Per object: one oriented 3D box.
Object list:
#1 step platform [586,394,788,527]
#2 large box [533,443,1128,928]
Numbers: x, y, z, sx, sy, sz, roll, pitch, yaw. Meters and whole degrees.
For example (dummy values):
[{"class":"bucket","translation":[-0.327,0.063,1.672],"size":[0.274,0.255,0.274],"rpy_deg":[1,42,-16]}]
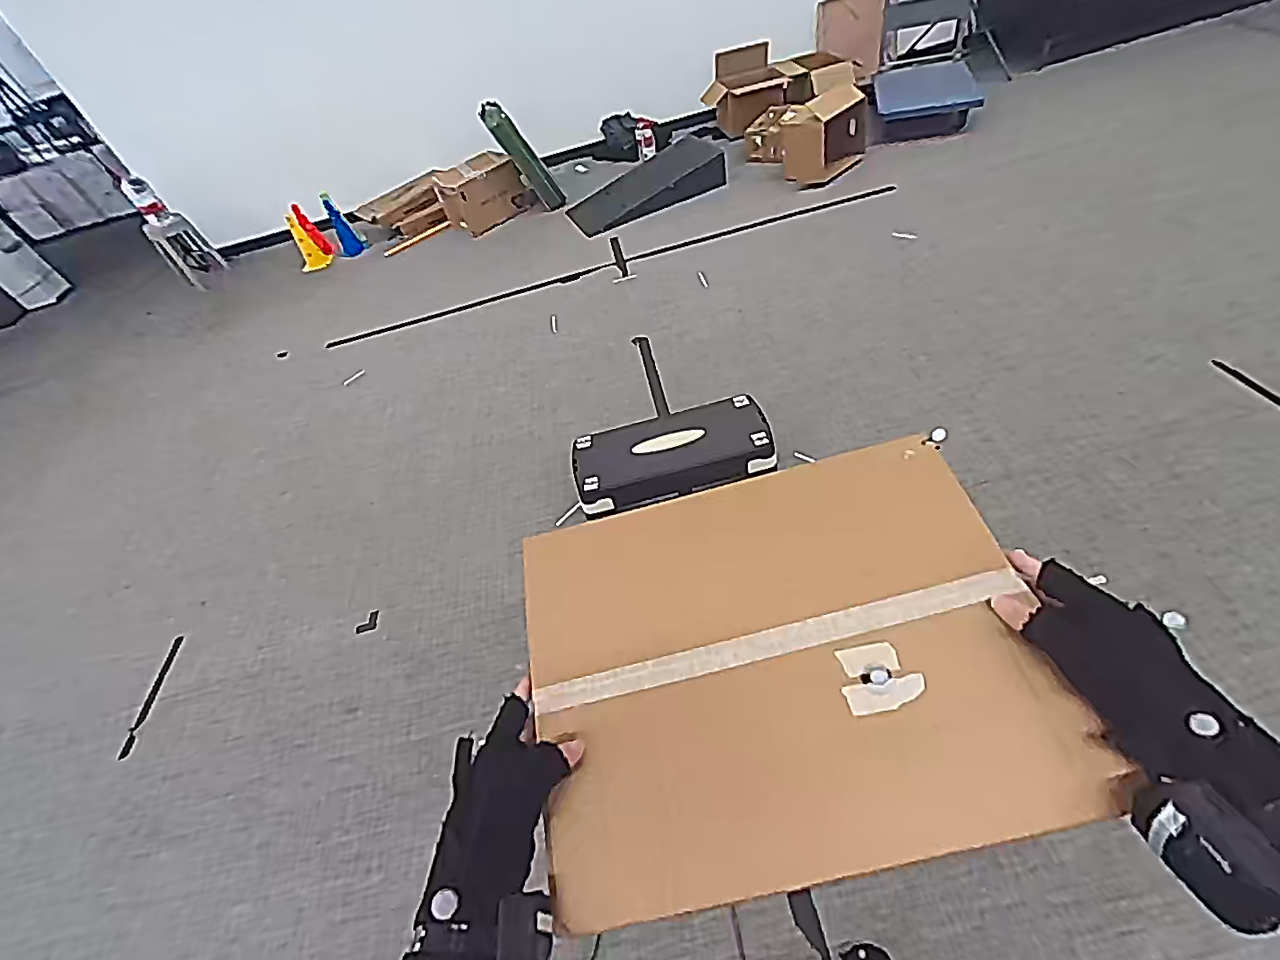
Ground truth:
[{"class":"step platform","translation":[0.156,-0.072,1.878],"size":[0.684,0.204,0.286],"rpy_deg":[-15,48,1]},{"class":"large box","translation":[0.138,0.218,0.576],"size":[0.408,0.320,0.320],"rpy_deg":[-15,56,3]}]
